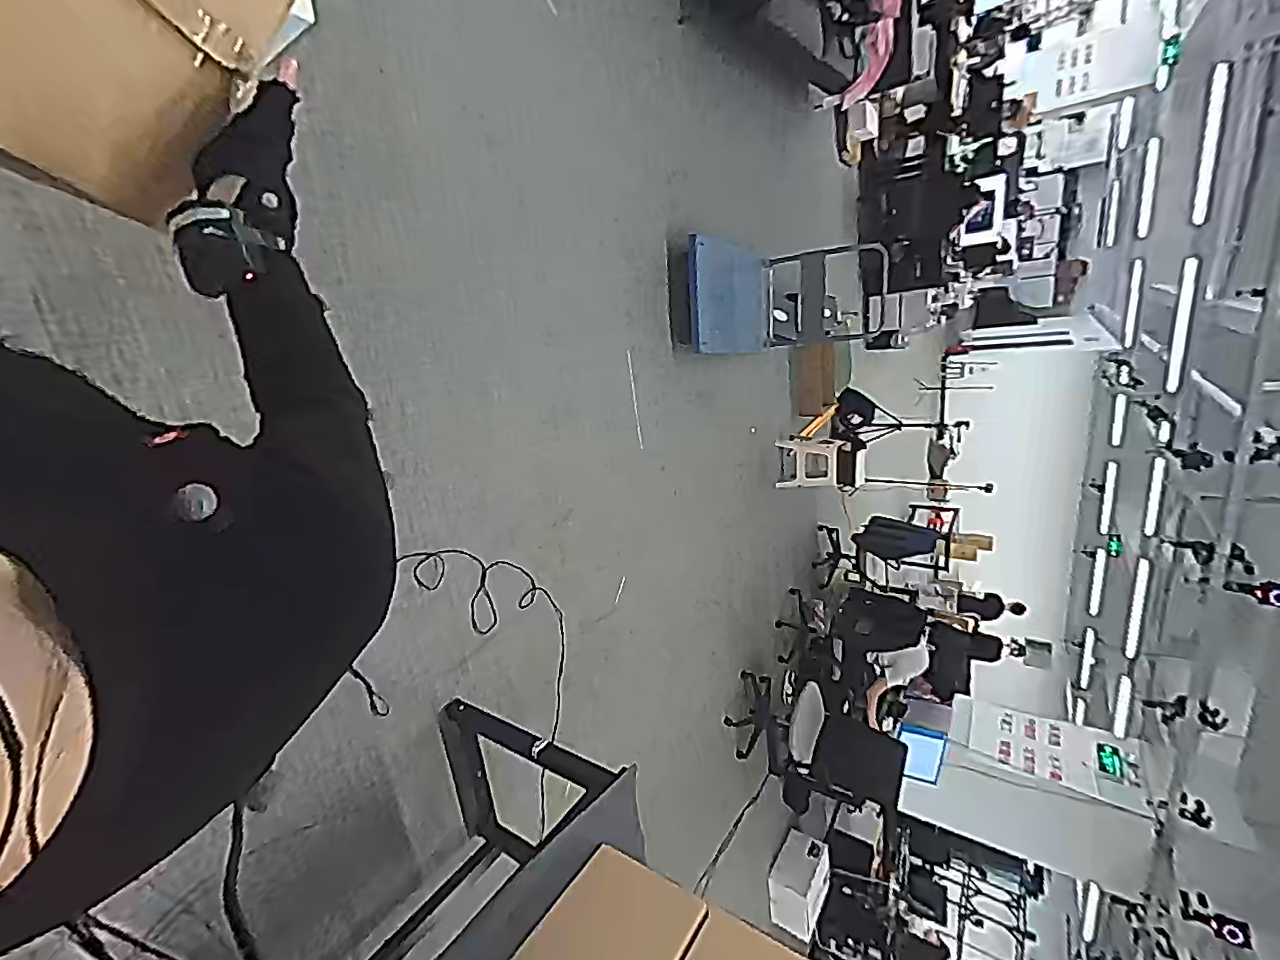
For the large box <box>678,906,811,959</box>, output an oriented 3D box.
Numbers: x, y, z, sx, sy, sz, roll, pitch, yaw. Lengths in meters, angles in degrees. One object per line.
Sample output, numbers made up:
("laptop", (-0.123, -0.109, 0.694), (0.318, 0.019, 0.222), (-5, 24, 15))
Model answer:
("large box", (0.181, 1.165, 1.026), (0.408, 0.320, 0.320), (-24, 114, -53))
